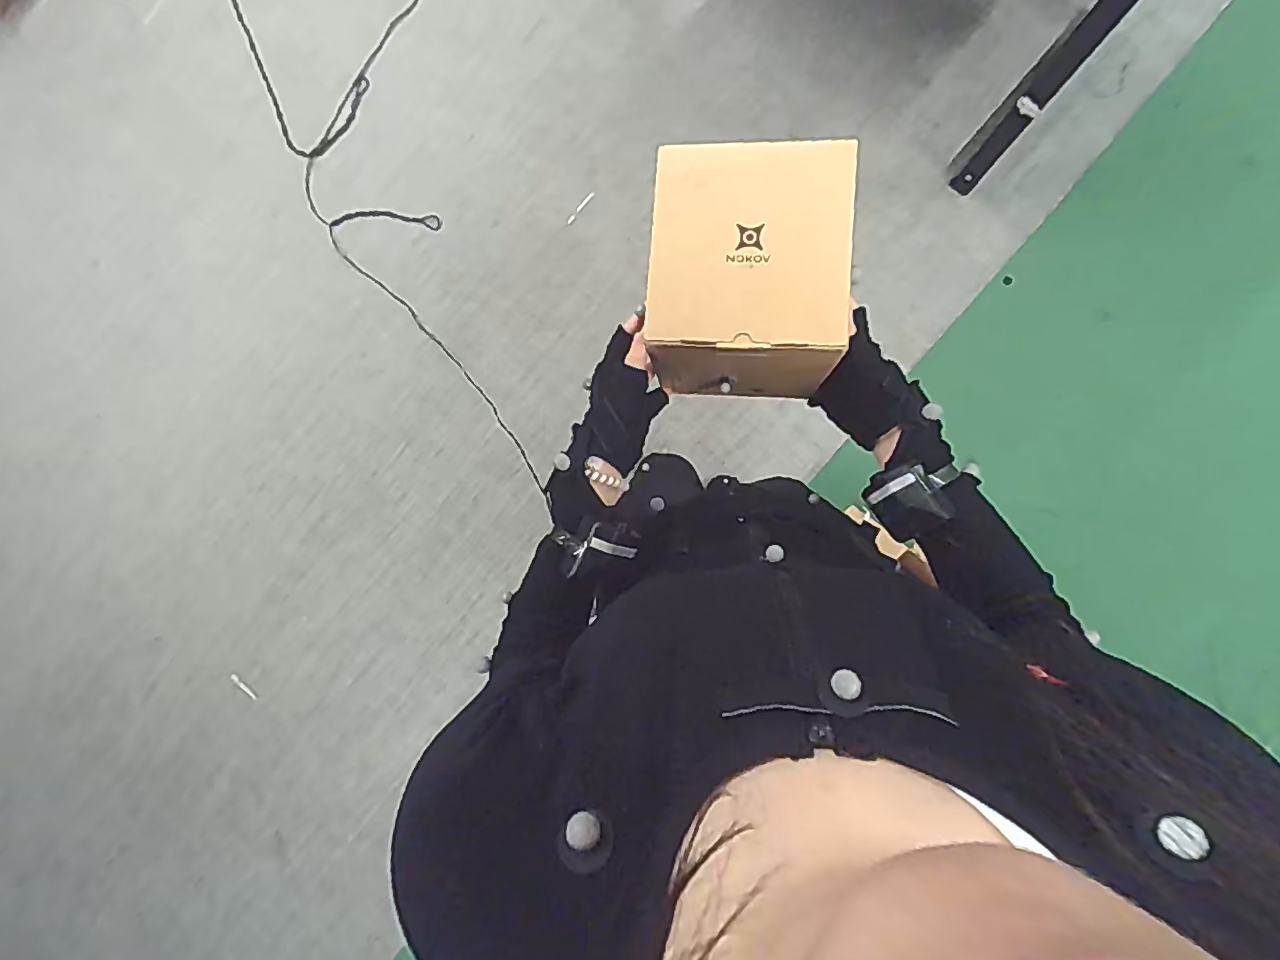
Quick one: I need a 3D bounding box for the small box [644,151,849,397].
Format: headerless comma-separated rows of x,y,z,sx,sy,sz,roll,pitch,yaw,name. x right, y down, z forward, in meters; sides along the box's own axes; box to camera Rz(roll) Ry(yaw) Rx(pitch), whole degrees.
0.100,-0.191,0.540,0.168,0.176,0.179,4,87,8,small box
